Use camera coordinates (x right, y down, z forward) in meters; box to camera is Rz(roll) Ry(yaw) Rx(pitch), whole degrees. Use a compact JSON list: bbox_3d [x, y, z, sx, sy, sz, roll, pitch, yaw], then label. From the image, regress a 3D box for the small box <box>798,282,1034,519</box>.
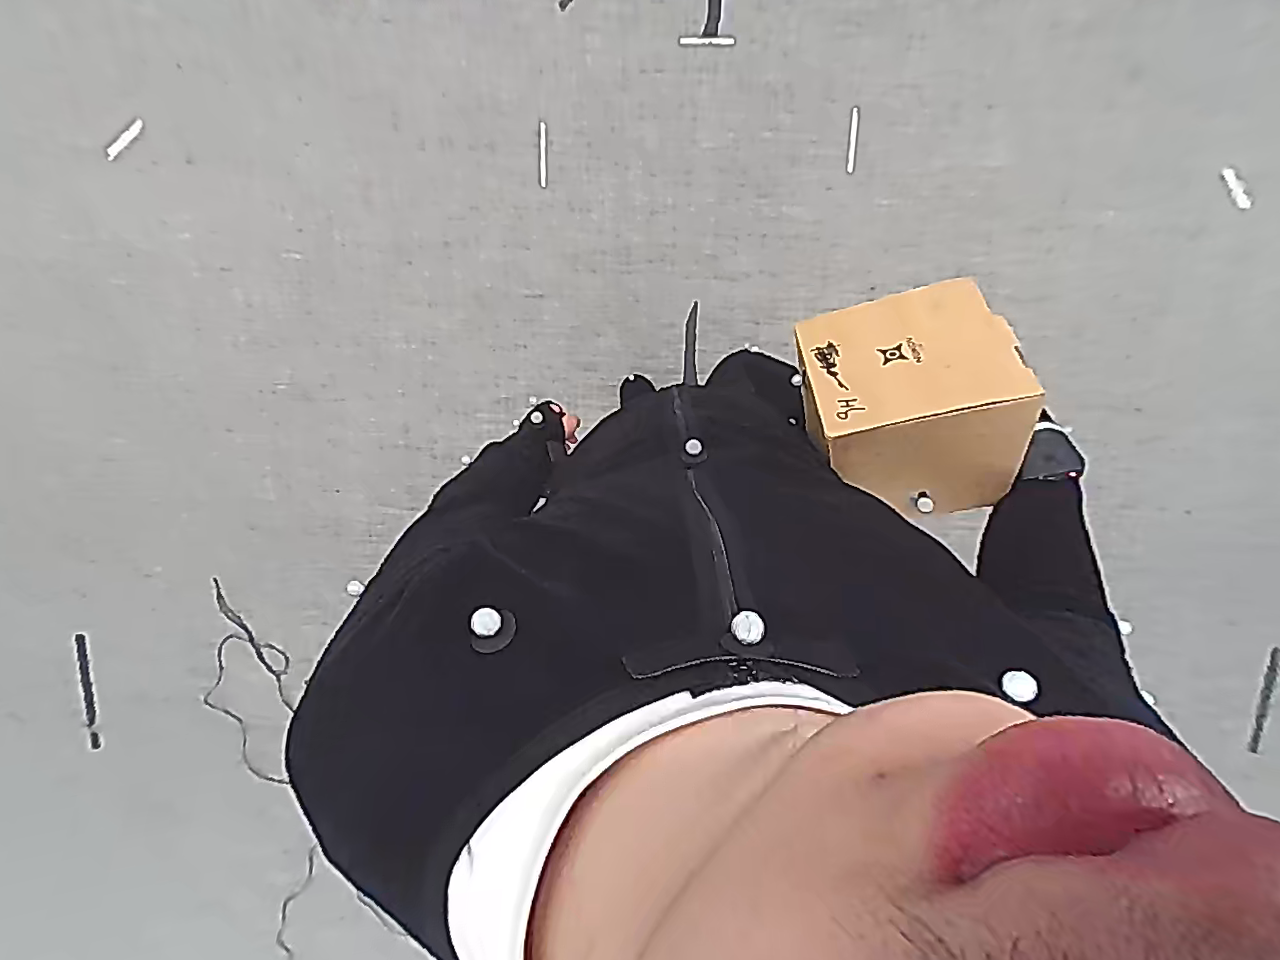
[{"bbox_3d":[0.277,-0.077,0.587,0.179,0.168,0.176,-11,141,14],"label":"small box"}]
